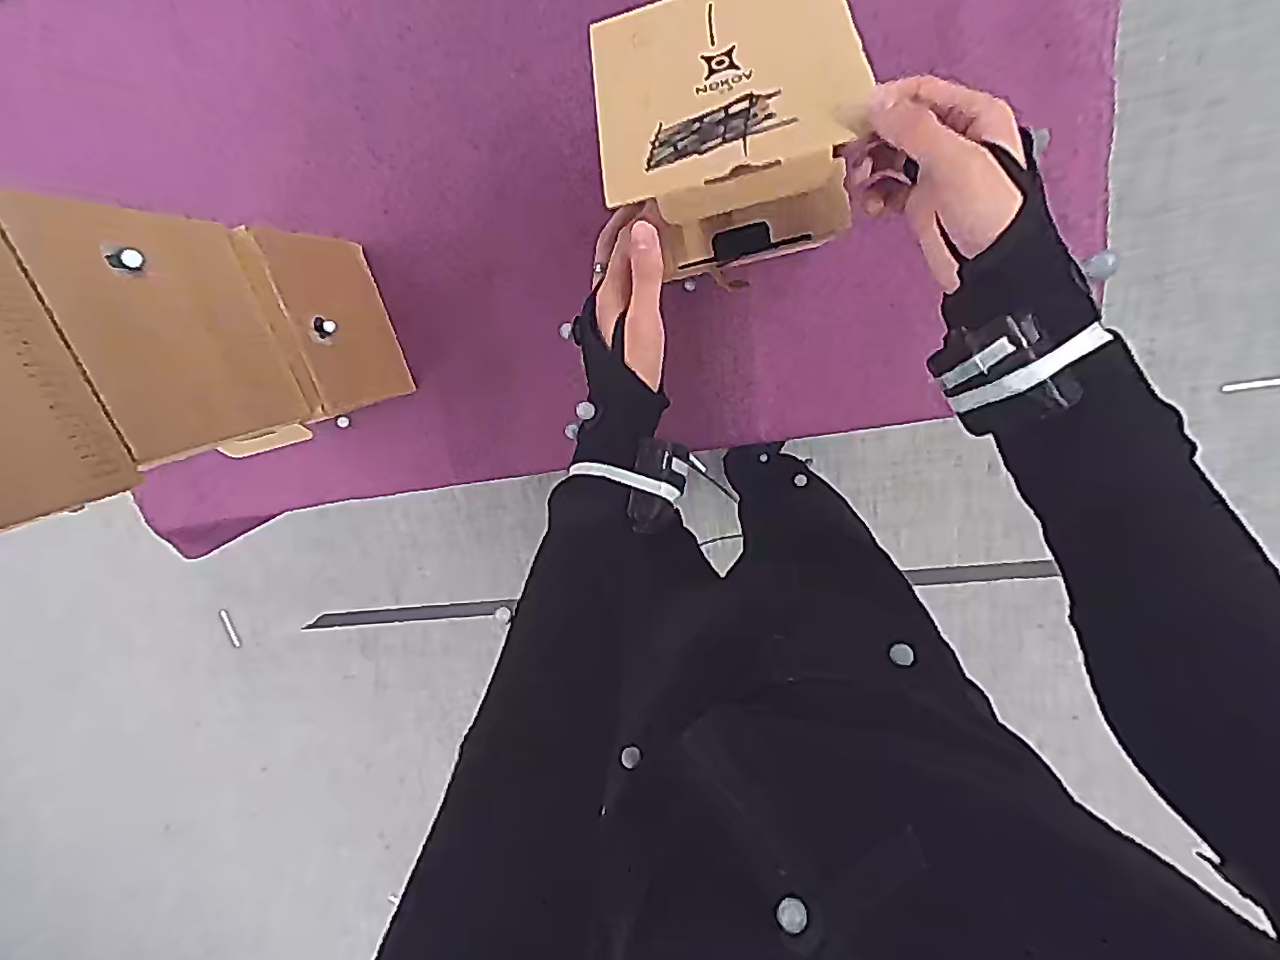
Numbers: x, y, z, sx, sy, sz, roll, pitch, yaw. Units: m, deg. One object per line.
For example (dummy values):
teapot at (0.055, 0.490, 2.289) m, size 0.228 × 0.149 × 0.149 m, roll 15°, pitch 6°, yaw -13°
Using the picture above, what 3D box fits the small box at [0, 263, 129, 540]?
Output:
small box at (-0.439, -0.029, 0.273) m, size 0.168 × 0.176 × 0.179 m, roll -14°, pitch 105°, yaw 12°

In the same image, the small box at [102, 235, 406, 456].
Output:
small box at (-0.386, -0.144, 0.579) m, size 0.168 × 0.176 × 0.179 m, roll -12°, pitch 107°, yaw 11°
